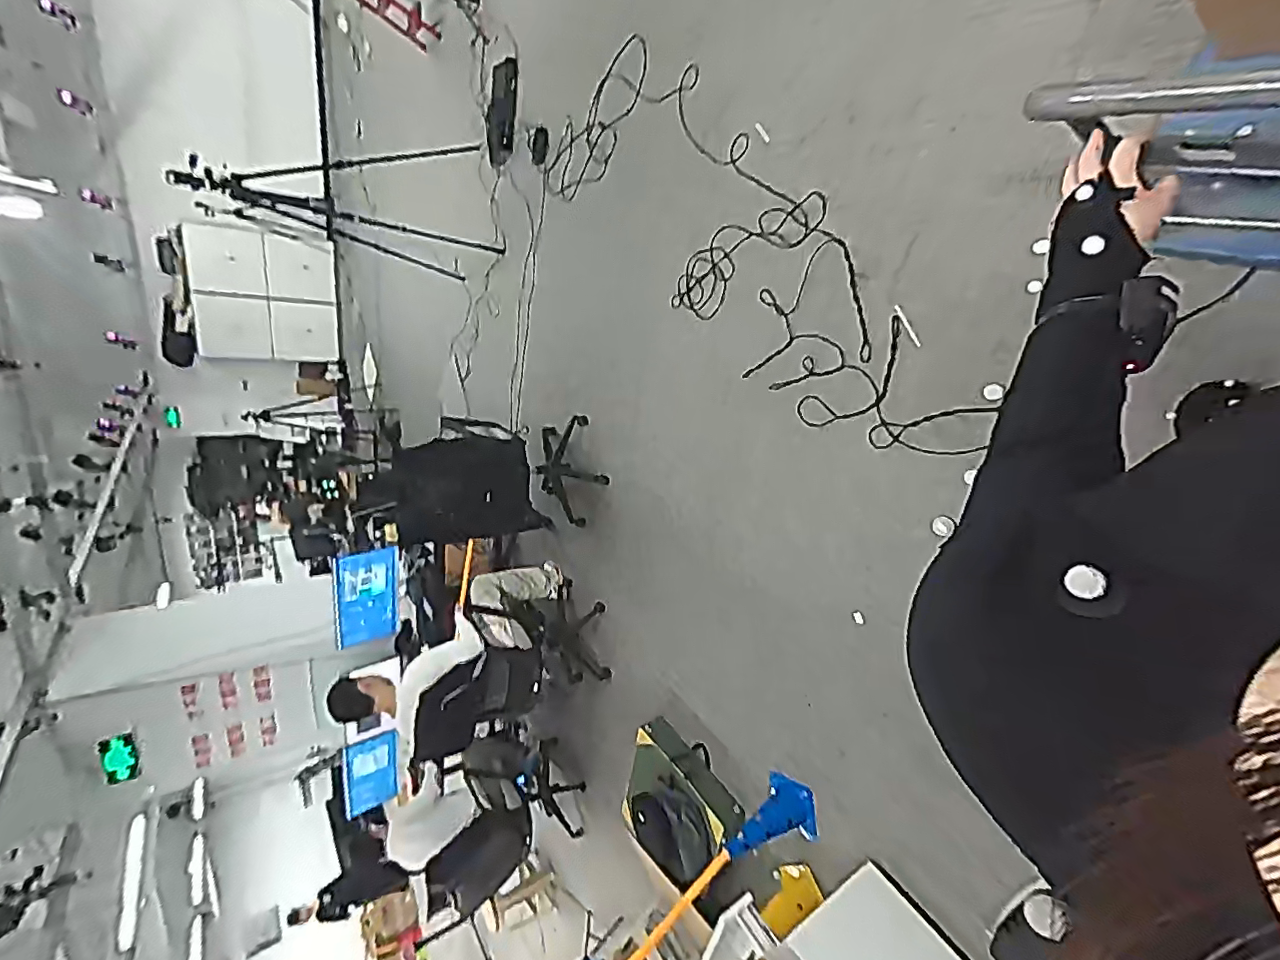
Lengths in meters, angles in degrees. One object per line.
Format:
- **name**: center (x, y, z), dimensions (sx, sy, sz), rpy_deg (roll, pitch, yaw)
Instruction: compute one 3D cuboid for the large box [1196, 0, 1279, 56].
- **large box**: center (0.995, -0.751, 0.629), dimensions (0.408, 0.320, 0.320), rpy_deg (37, 124, 43)
